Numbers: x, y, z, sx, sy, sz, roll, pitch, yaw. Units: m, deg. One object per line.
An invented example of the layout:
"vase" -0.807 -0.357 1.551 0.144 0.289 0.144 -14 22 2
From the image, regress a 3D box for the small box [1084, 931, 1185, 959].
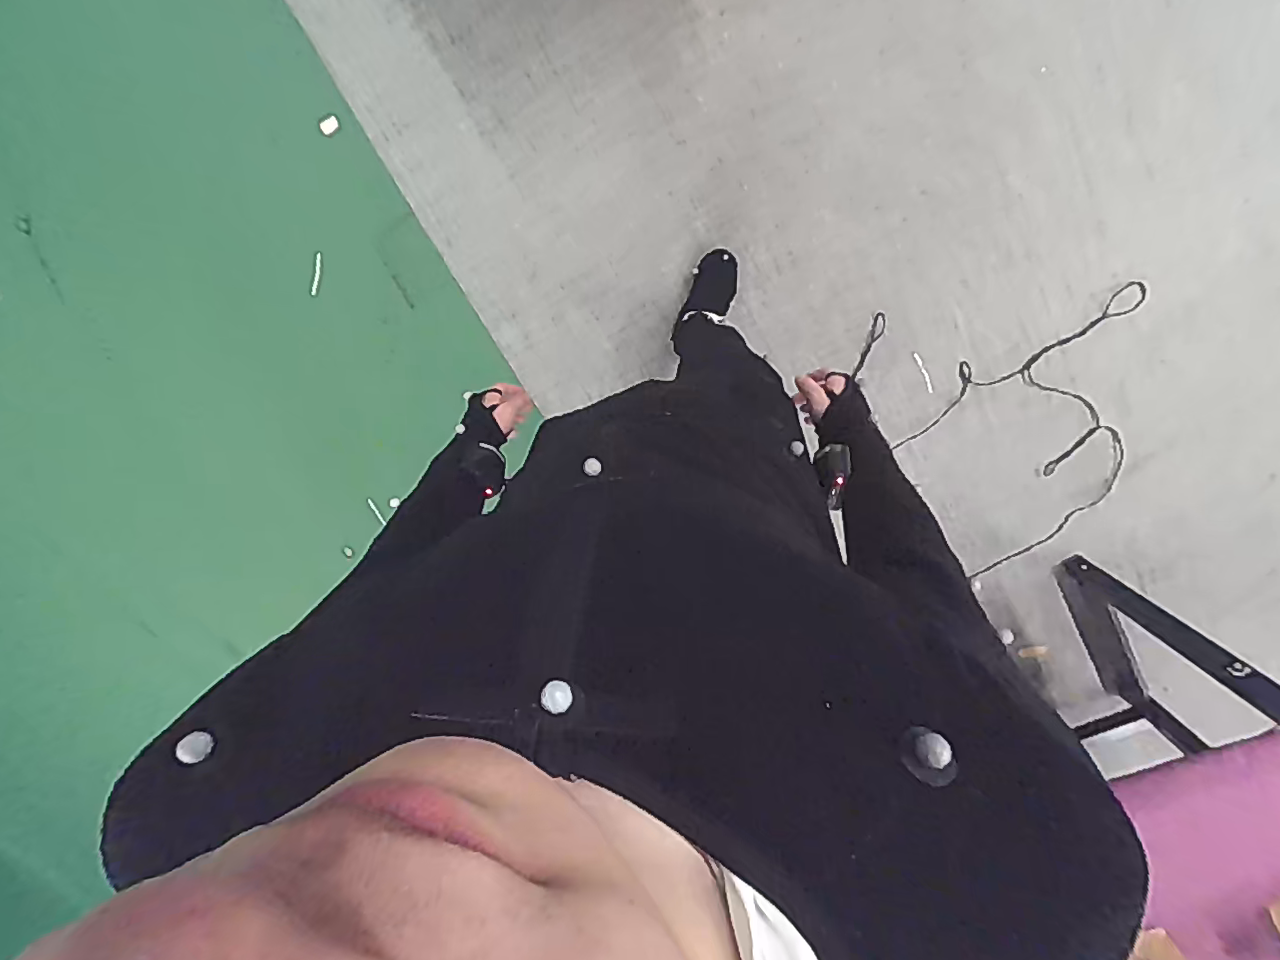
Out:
"small box" 1.048 1.059 1.079 0.168 0.176 0.179 -30 104 14
